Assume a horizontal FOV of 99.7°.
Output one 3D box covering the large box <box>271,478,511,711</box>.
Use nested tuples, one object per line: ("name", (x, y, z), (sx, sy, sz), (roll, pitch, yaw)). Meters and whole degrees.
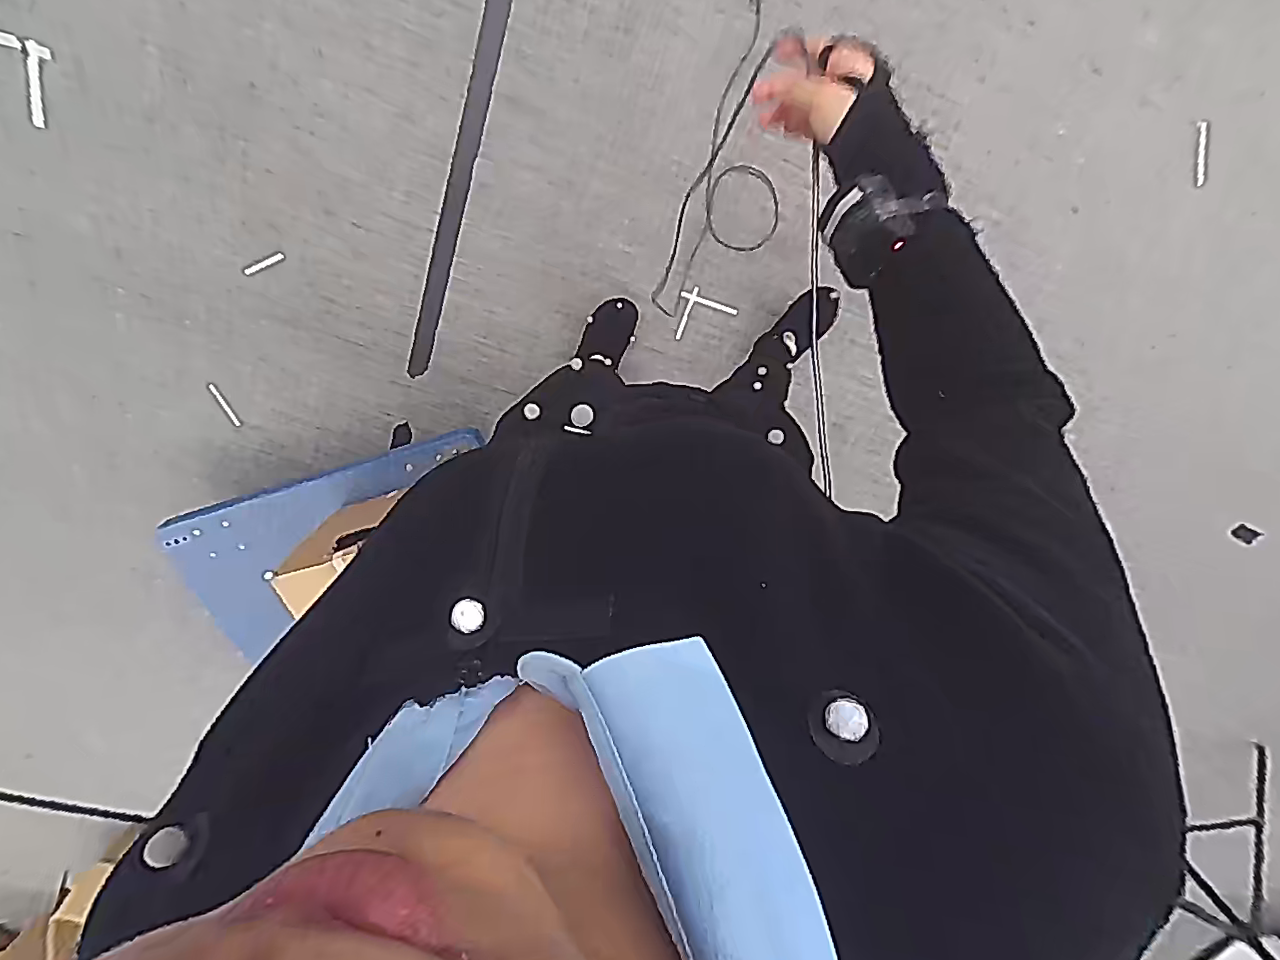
("large box", (-0.548, 0.263, 1.290), (0.320, 0.320, 0.408), (-16, 112, 4))
